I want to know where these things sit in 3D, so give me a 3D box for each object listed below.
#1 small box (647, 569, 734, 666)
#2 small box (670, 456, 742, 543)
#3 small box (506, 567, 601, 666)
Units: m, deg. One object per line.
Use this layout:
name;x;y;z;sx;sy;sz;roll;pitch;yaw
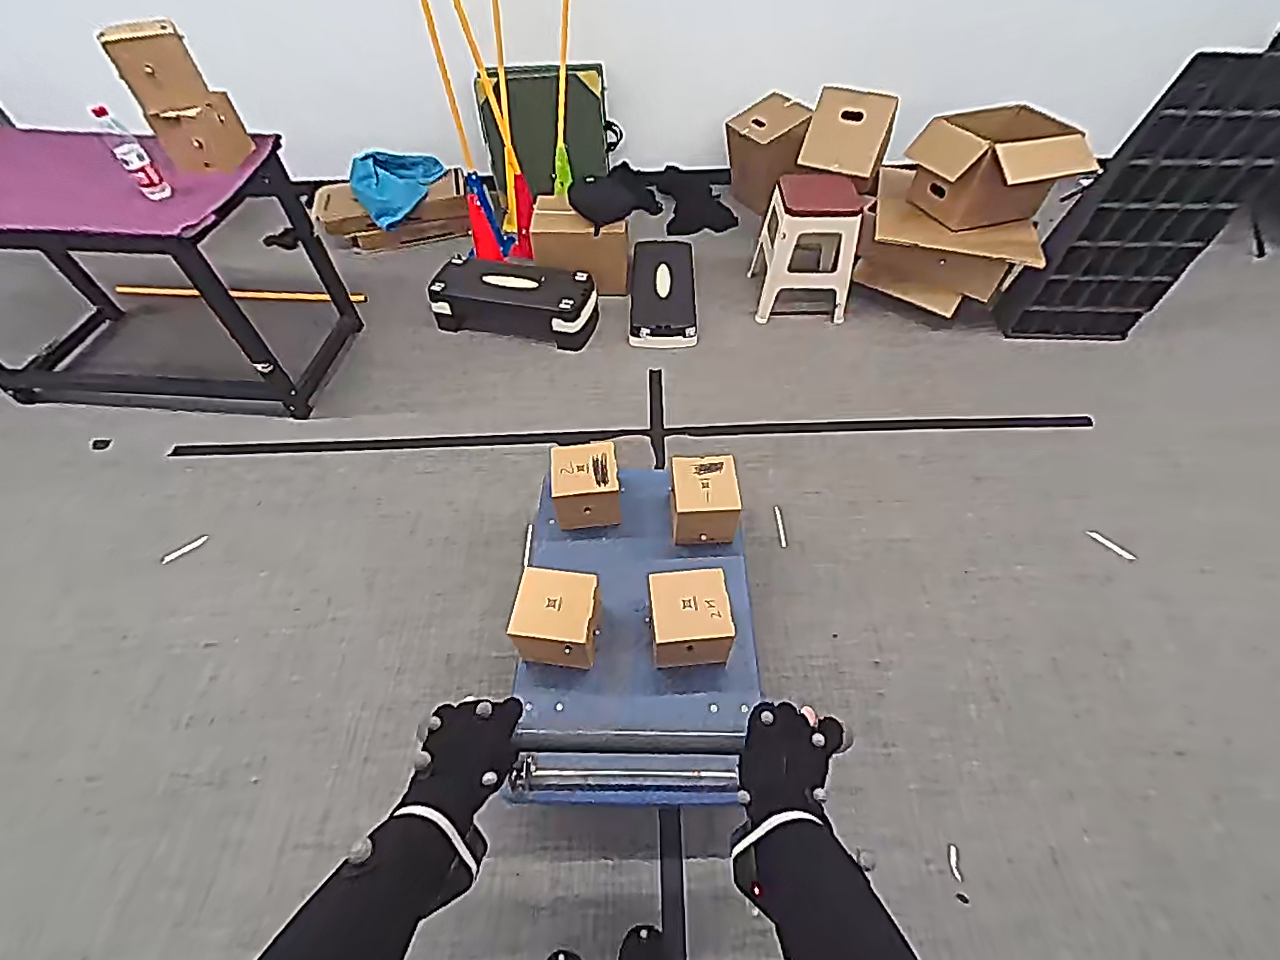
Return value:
small box;0.112;0.323;1.259;0.179;0.176;0.168;-4;54;-2
small box;0.171;0.054;1.457;0.168;0.176;0.179;-2;55;-1
small box;-0.192;0.322;1.263;0.179;0.176;0.168;6;53;4
